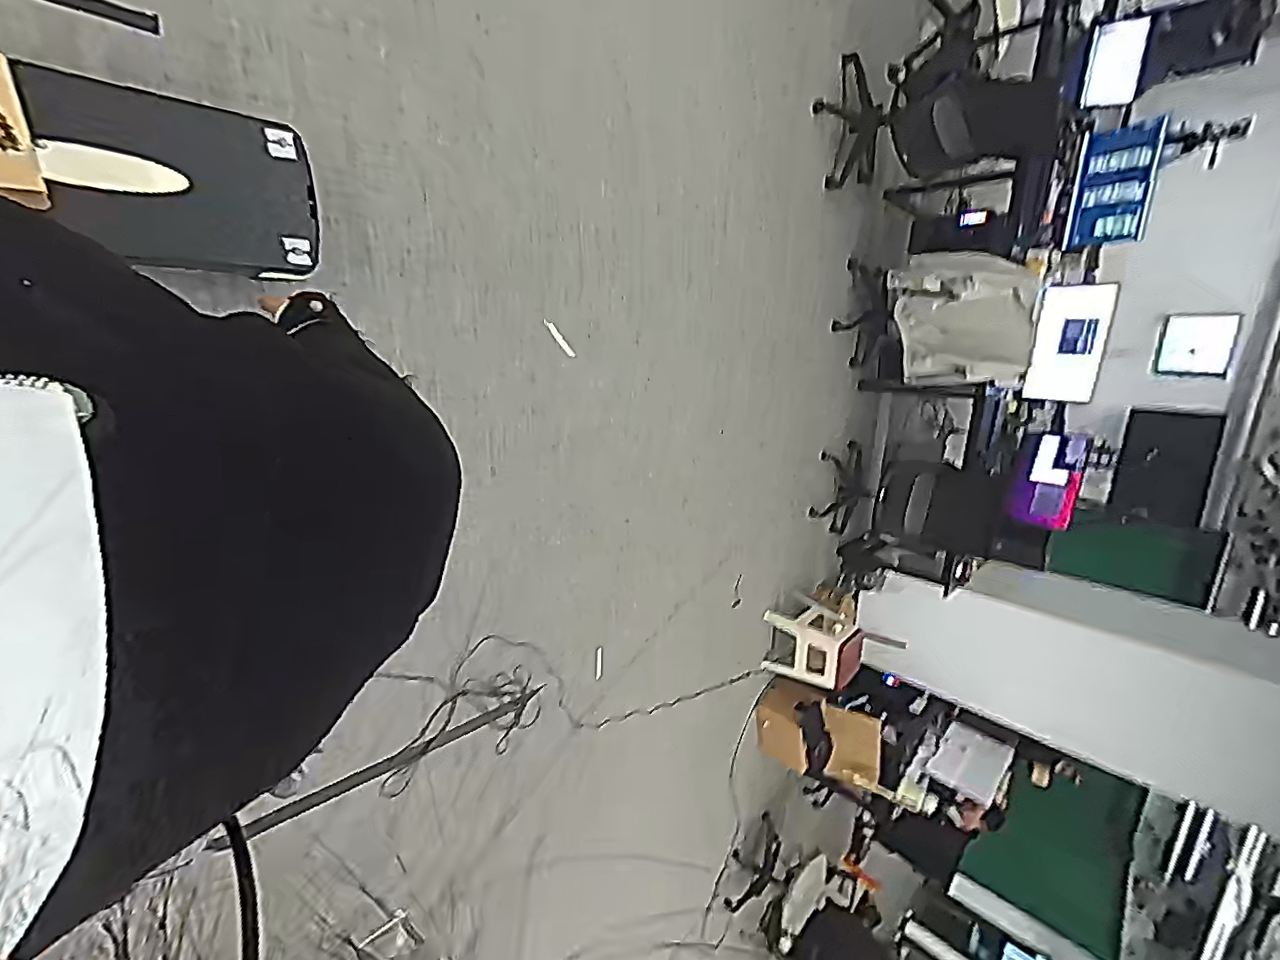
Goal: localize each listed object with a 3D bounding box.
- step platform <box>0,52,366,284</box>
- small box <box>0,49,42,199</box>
[{"bbox_3d":[-0.811,-0.469,0.817,0.684,0.204,0.286,-14,111,-44],"label":"step platform"},{"bbox_3d":[-0.948,-0.482,0.722,0.179,0.176,0.168,-17,113,-42],"label":"small box"}]
